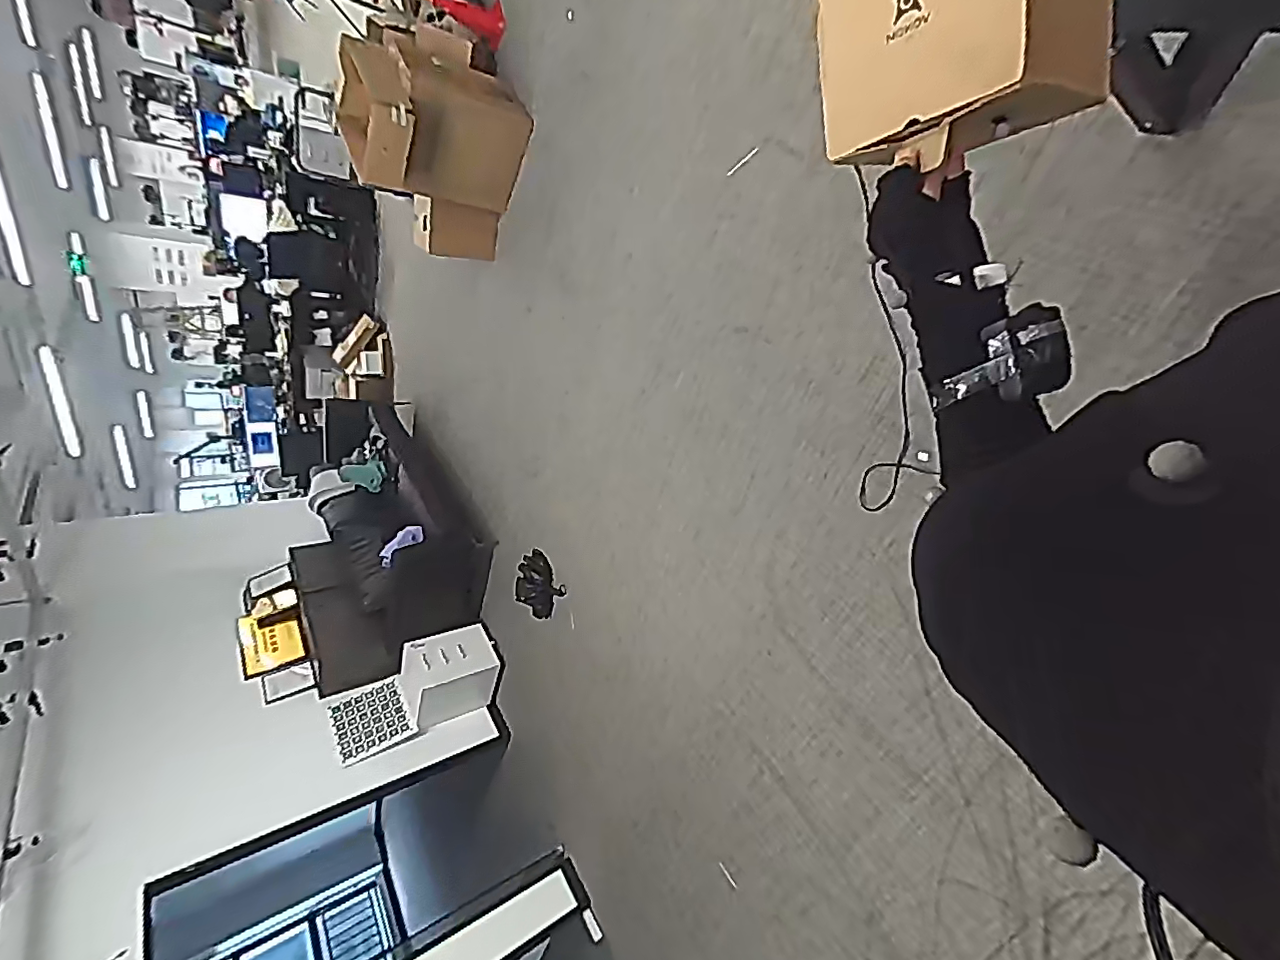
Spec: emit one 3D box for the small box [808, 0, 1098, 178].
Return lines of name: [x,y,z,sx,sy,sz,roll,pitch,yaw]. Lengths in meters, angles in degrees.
small box: [0.270,-0.383,0.469,0.168,0.176,0.179,11,115,54]
